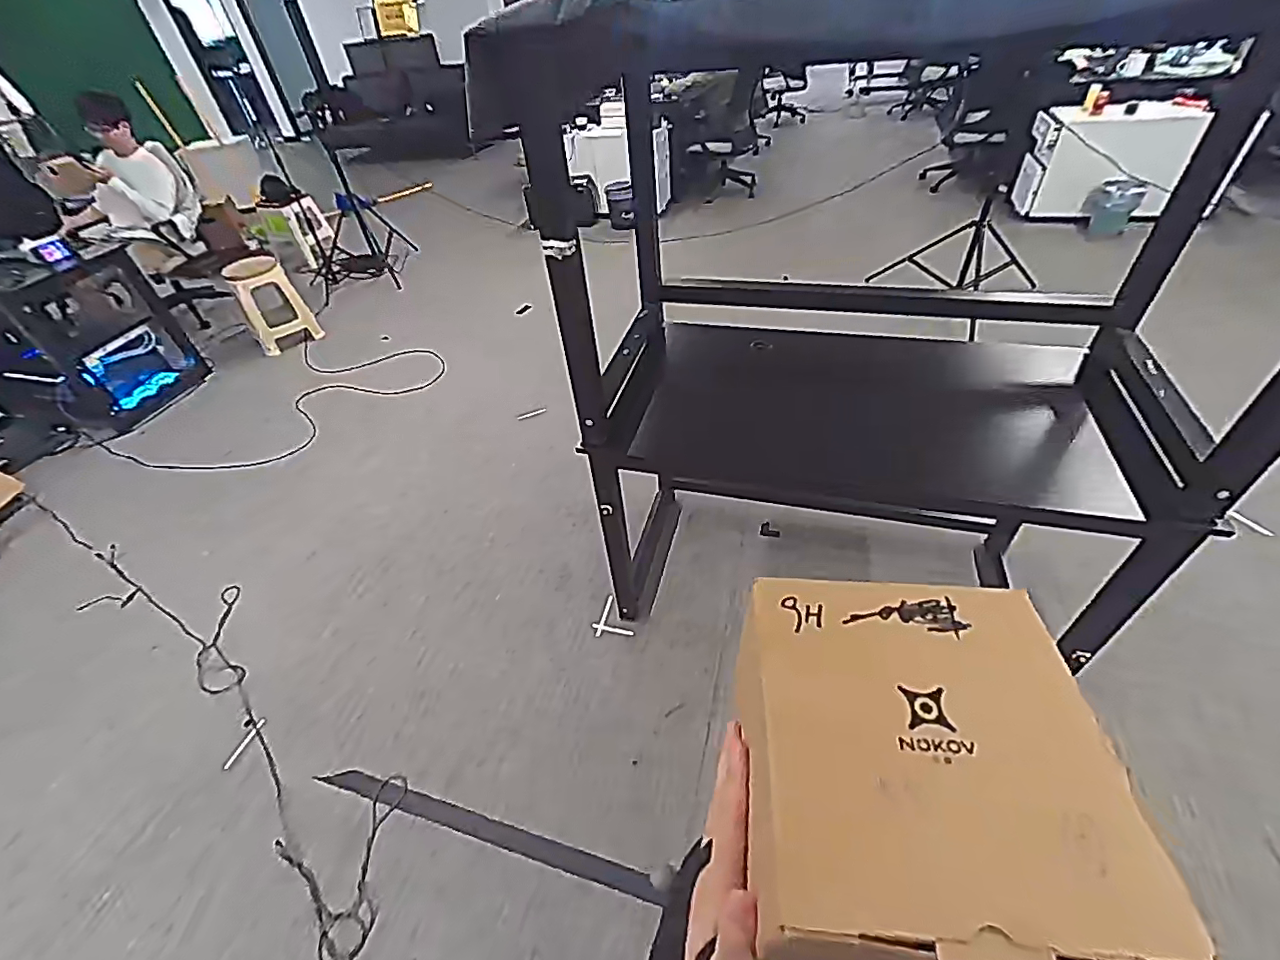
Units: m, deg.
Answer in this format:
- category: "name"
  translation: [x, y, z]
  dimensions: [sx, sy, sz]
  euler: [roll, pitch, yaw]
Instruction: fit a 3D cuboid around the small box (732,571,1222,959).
- category: "small box"
  translation: [0.147, 0.177, 0.321]
  dimensions: [0.168, 0.176, 0.179]
  euler: [3, 44, 4]
